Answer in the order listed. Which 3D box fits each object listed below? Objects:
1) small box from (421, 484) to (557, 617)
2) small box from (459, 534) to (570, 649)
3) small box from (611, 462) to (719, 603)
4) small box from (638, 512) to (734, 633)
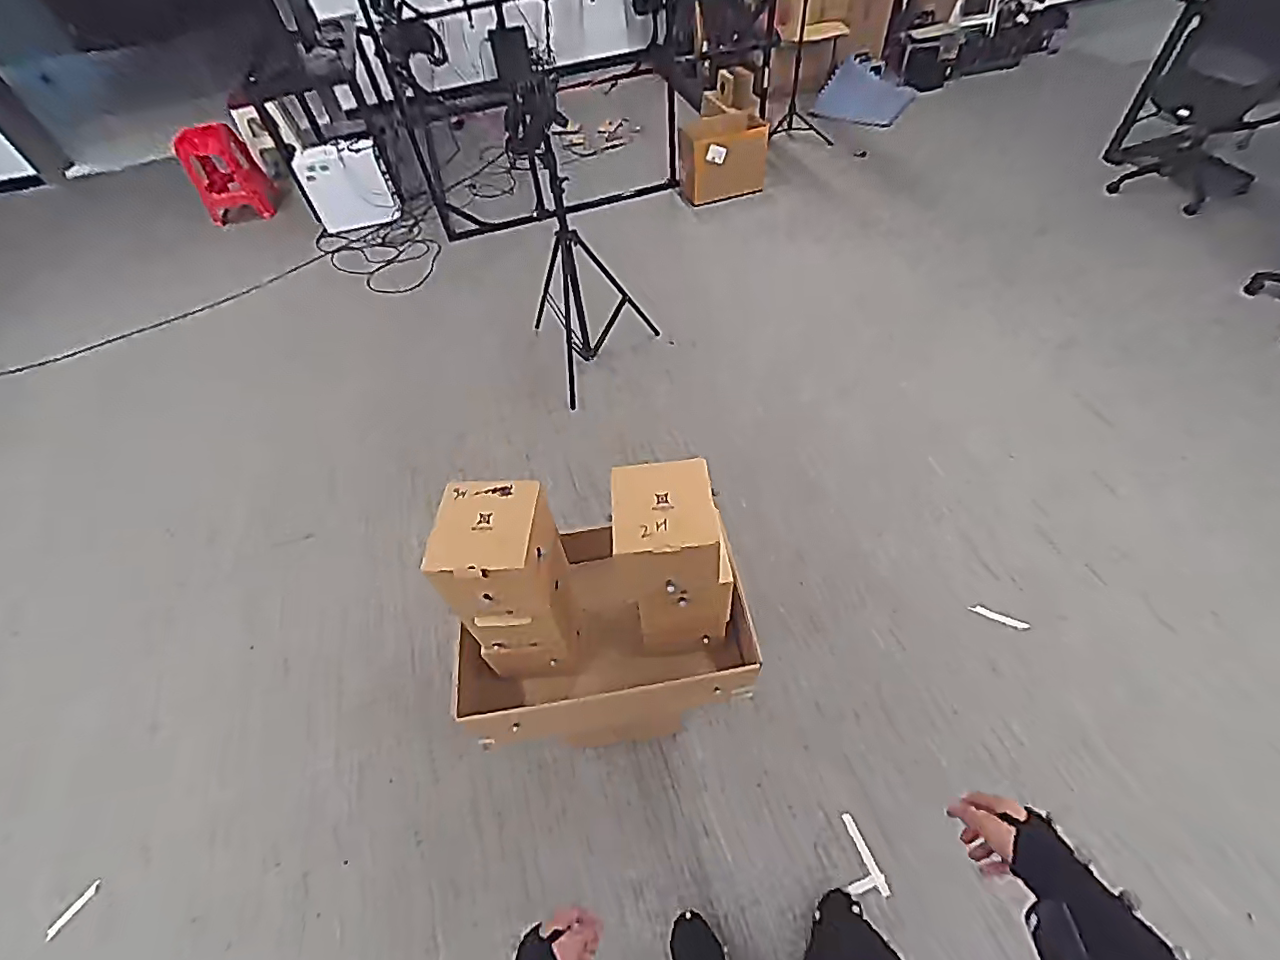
[{"bbox_3d":[-0.247,0.127,0.935,0.168,0.176,0.179,-1,52,5],"label":"small box"},{"bbox_3d":[-0.236,0.224,1.067,0.168,0.176,0.179,-4,51,3],"label":"small box"},{"bbox_3d":[0.042,0.092,0.934,0.168,0.176,0.179,-6,52,3],"label":"small box"},{"bbox_3d":[0.077,0.185,1.066,0.179,0.176,0.168,-9,50,-1],"label":"small box"}]
